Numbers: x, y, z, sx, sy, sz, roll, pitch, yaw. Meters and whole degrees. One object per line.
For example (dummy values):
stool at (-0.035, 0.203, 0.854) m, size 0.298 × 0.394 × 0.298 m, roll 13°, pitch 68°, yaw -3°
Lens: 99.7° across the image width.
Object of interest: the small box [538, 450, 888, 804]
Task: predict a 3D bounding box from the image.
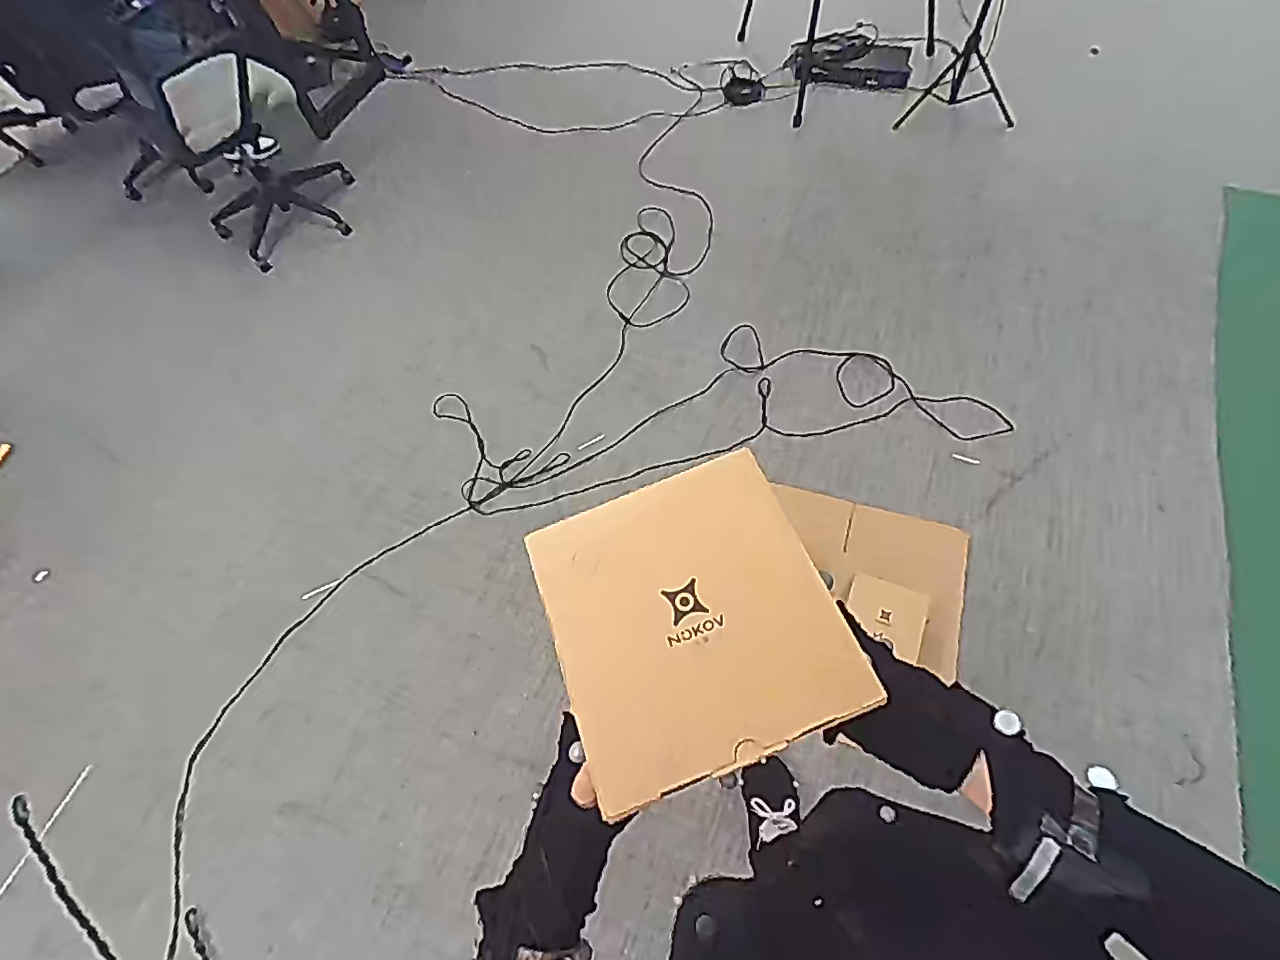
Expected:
small box at (0.041, 0.112, 0.400) m, size 0.168 × 0.176 × 0.179 m, roll -21°, pitch 63°, yaw -3°

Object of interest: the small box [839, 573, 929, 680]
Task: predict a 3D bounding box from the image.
small box at (0.550, 0.347, 1.269) m, size 0.168 × 0.176 × 0.179 m, roll 18°, pitch 67°, yaw 17°
